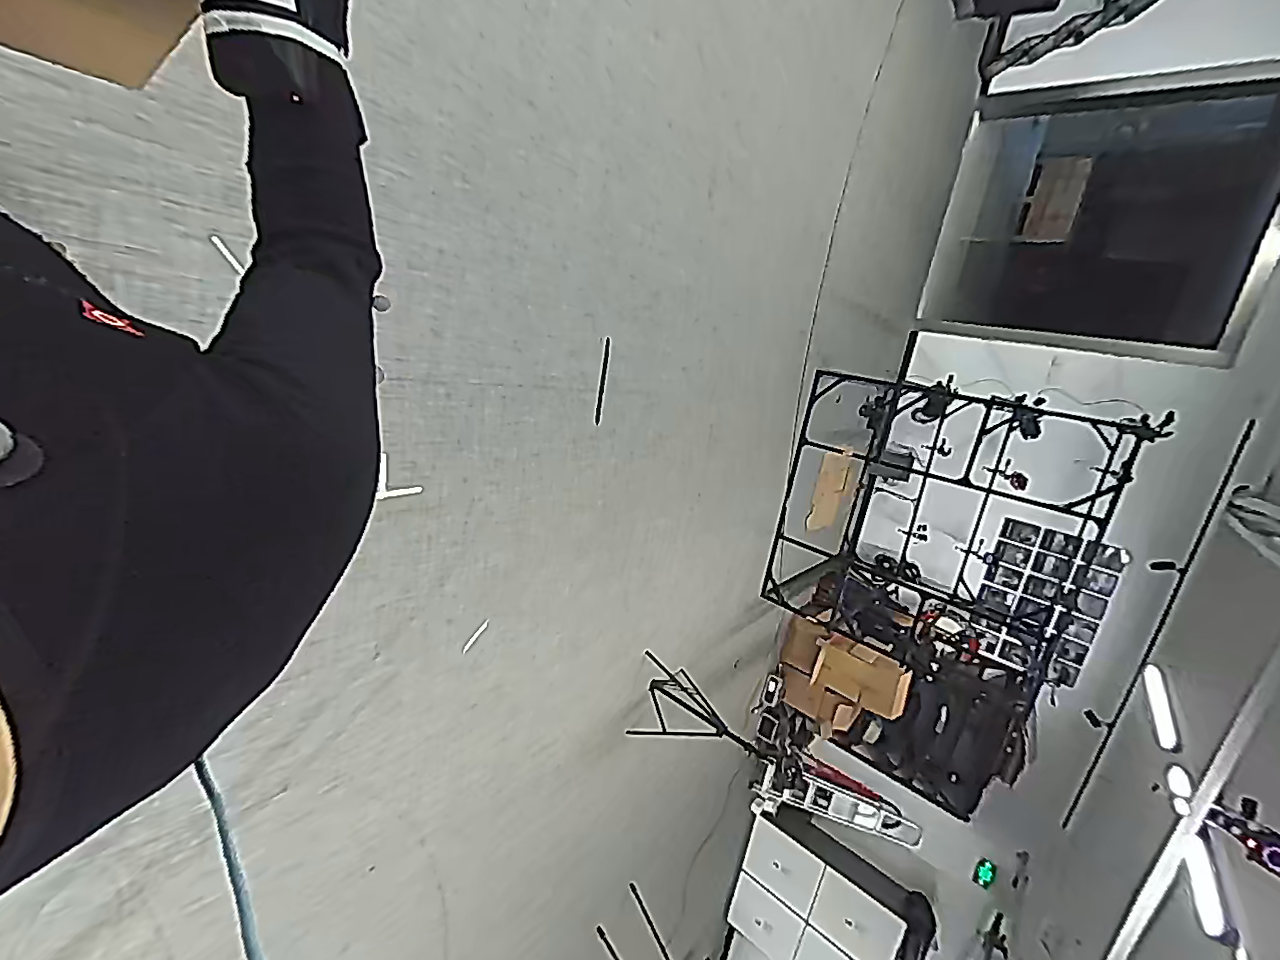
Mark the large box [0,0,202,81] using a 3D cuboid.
[{"bbox_3d":[-0.474,-0.473,0.242,0.408,0.320,0.320,-11,108,-51],"label":"large box"}]
